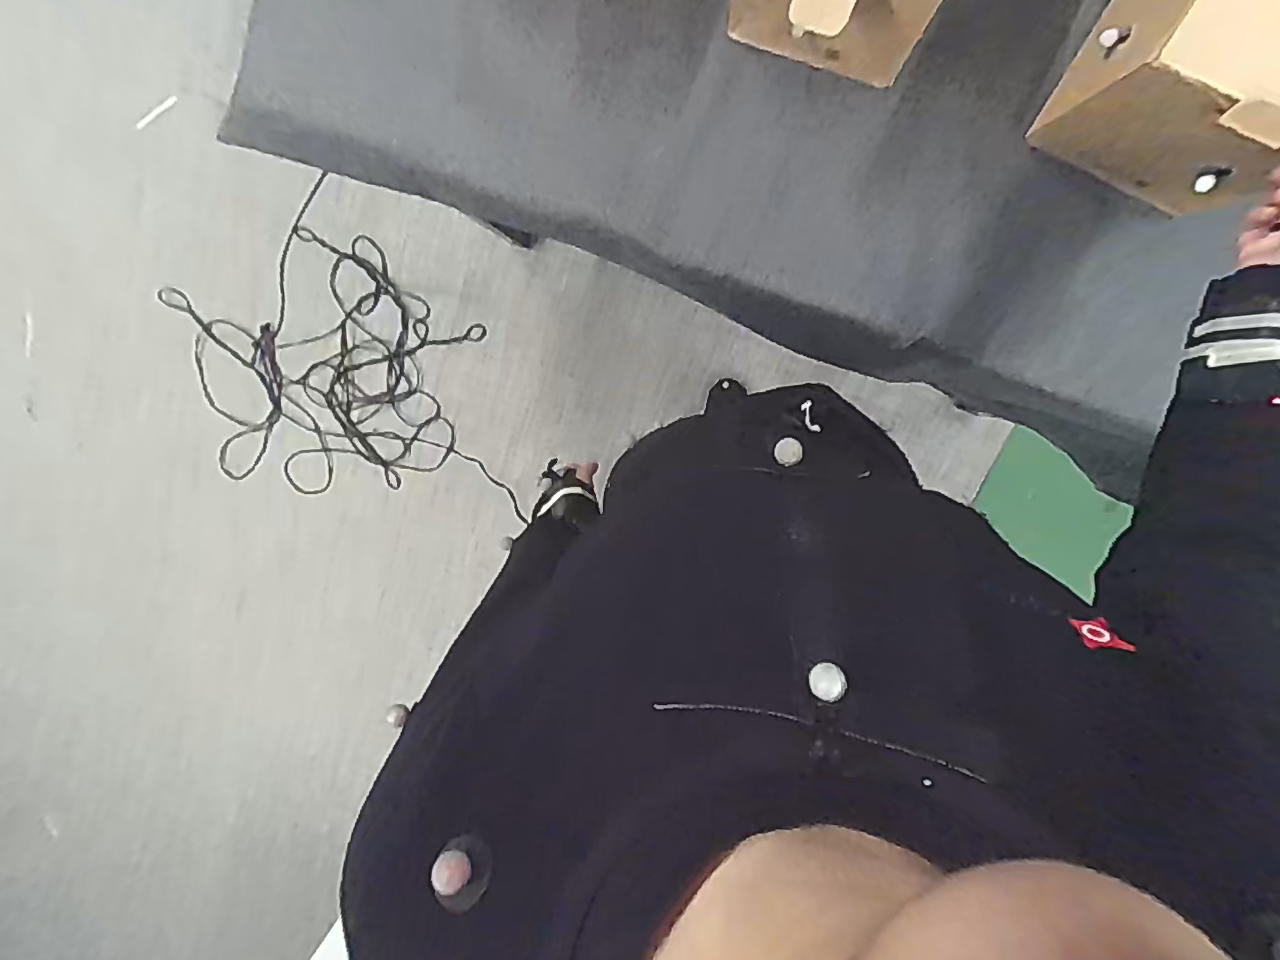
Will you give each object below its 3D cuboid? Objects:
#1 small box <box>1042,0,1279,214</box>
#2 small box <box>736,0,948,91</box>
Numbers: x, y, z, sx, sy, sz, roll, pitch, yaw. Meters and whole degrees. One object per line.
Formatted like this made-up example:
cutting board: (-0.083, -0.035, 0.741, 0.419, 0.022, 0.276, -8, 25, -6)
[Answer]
small box: (0.457, -0.330, 0.408, 0.168, 0.176, 0.179, 27, 107, 0)
small box: (0.181, -0.462, 0.427, 0.168, 0.176, 0.179, 21, 104, 3)
